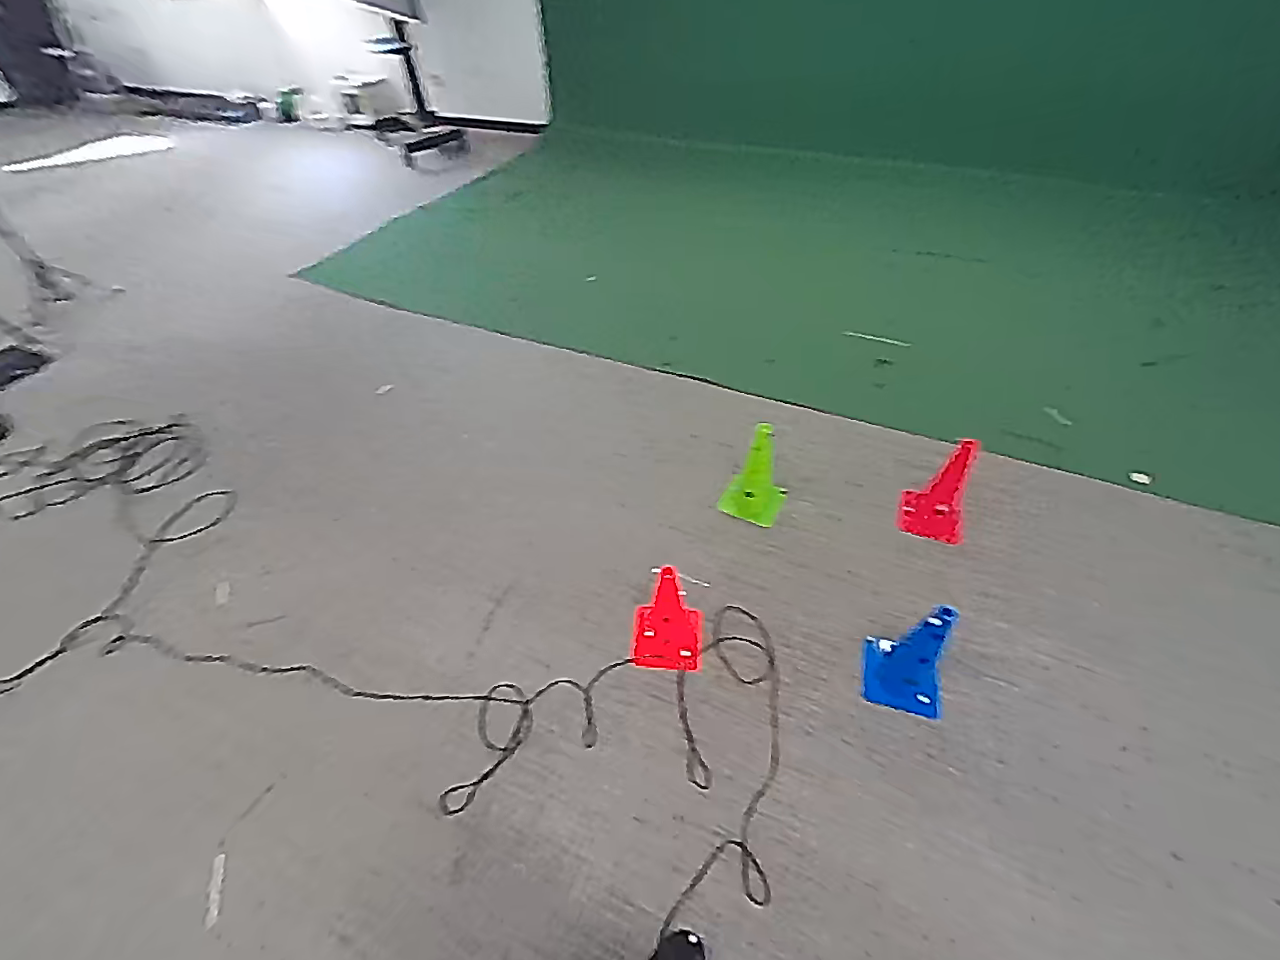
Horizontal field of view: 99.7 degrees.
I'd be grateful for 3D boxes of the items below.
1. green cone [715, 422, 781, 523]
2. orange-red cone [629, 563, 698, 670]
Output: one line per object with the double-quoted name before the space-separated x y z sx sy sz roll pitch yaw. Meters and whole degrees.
"green cone" 0.385 -0.056 1.843 0.200 0.368 0.202 19 52 20
"orange-red cone" 0.070 0.344 1.488 0.198 0.360 0.199 4 46 5
